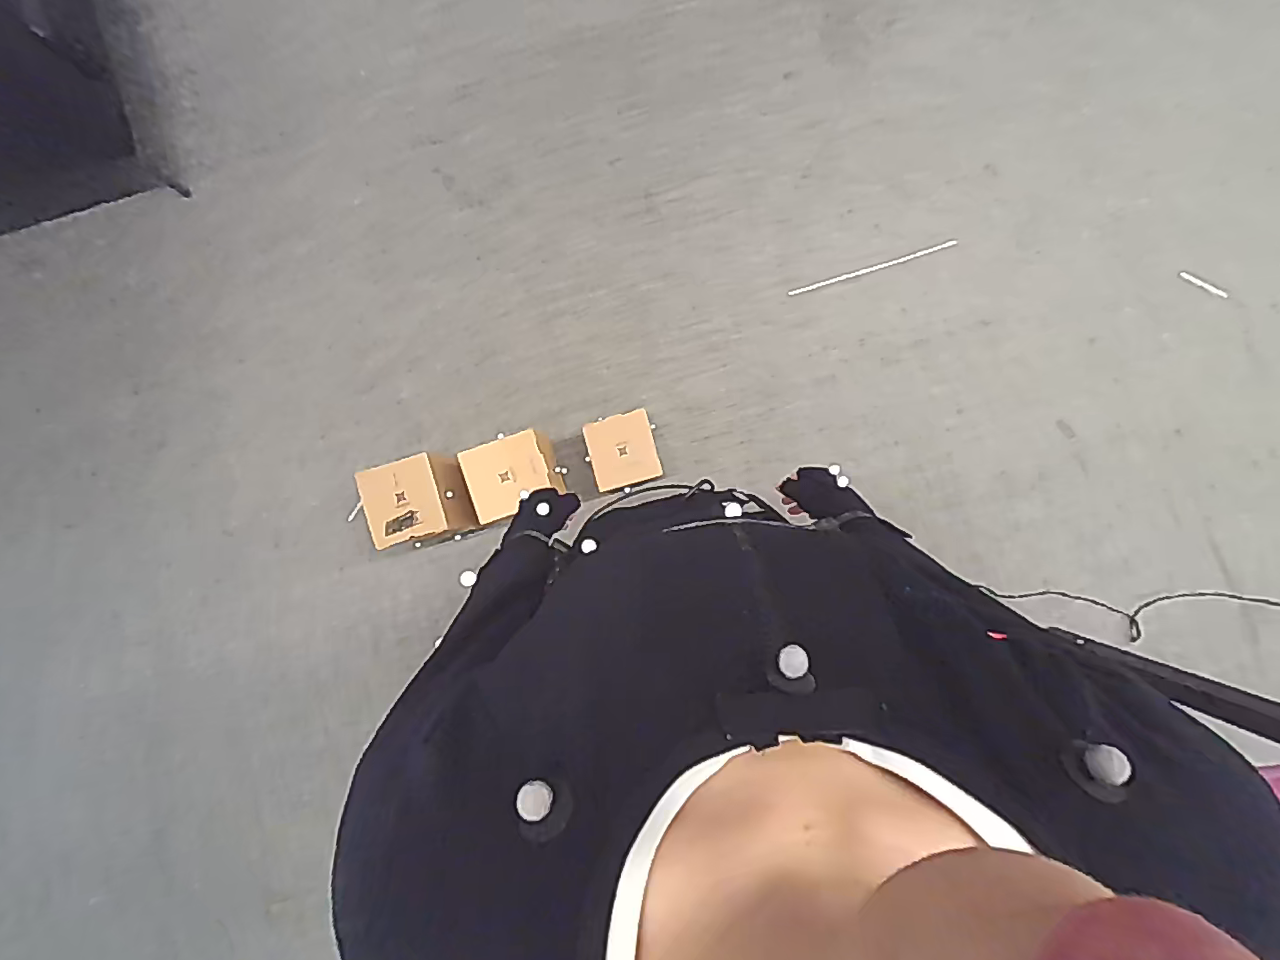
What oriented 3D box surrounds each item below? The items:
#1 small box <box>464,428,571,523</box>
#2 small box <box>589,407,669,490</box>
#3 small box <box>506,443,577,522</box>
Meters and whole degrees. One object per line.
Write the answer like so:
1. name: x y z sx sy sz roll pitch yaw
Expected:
1. small box: -0.272 -0.008 1.240 0.179 0.176 0.168 -19 89 0
2. small box: -0.028 -0.075 1.403 0.168 0.176 0.179 -16 89 1
3. small box: -0.273 0.002 1.403 0.168 0.176 0.179 -18 88 2
